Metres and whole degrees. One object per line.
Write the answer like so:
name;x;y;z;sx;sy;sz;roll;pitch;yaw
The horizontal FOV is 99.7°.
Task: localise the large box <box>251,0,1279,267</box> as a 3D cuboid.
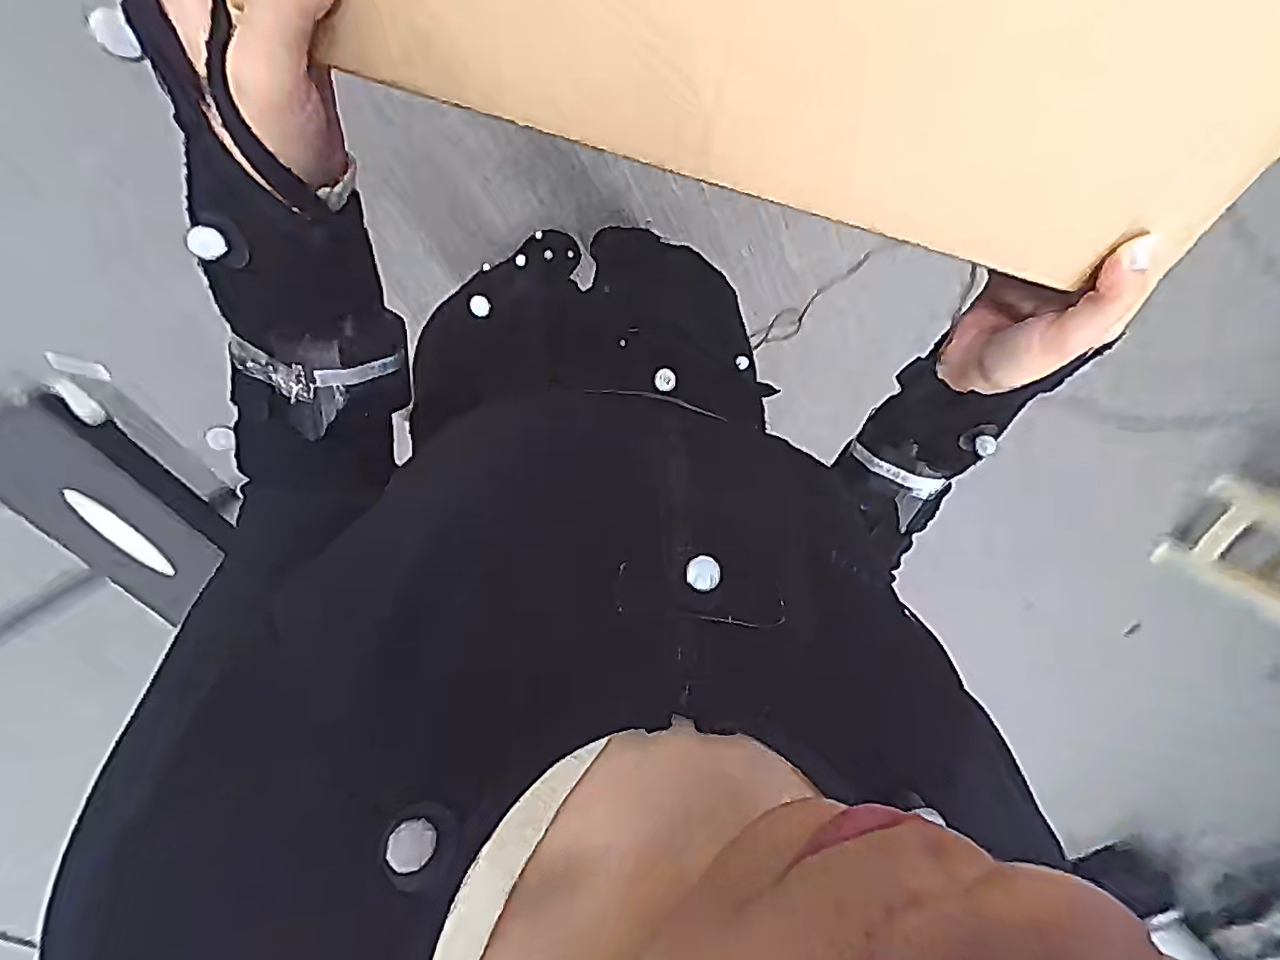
large box;0.077;-0.339;0.243;0.408;0.320;0.320;7;133;-13
